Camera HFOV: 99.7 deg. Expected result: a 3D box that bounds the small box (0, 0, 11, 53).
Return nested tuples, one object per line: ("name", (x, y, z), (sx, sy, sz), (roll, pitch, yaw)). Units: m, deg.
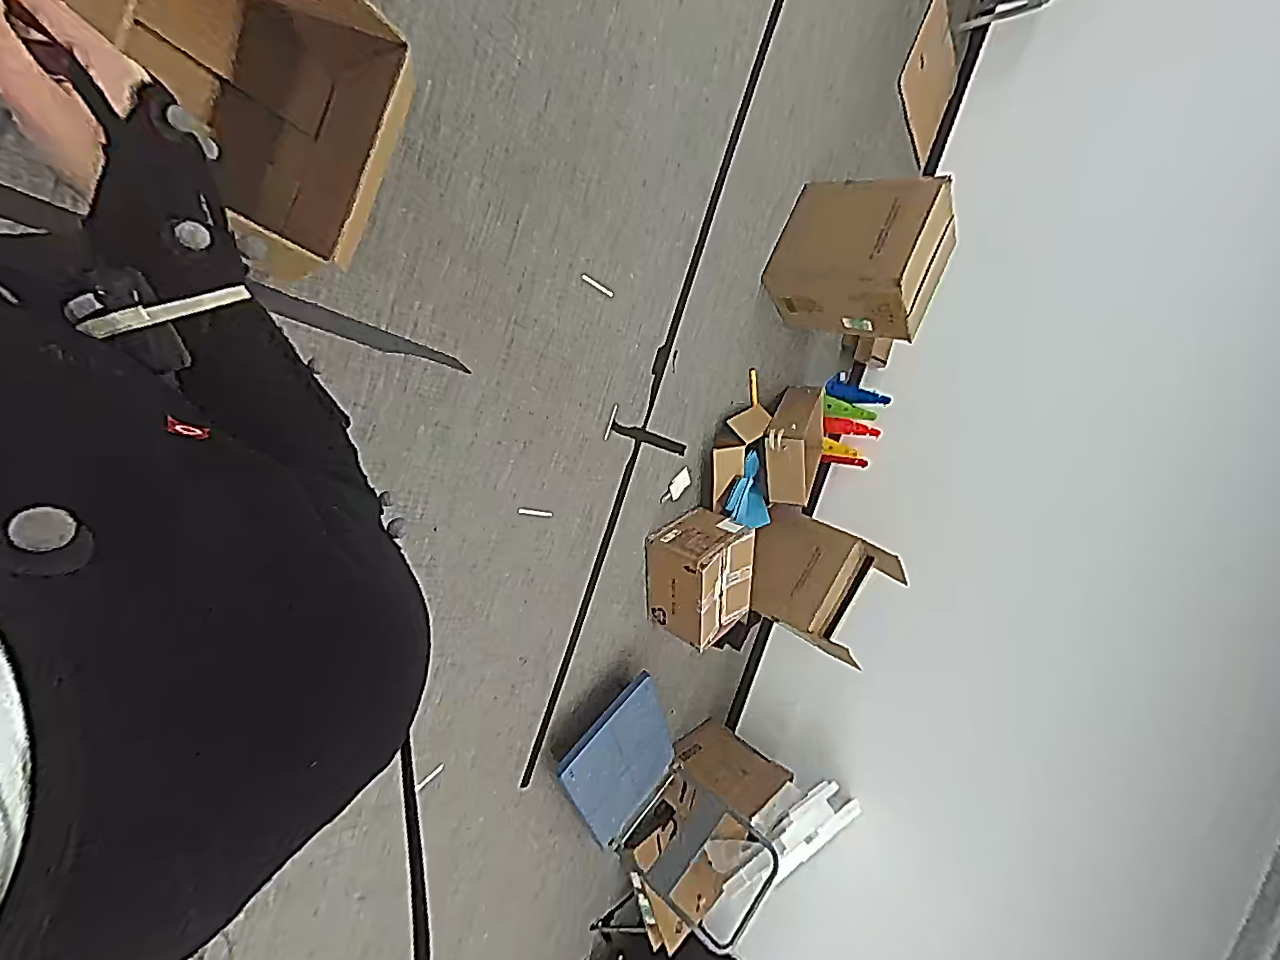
("small box", (-0.421, -0.303, 0.221), (0.179, 0.176, 0.168), (-22, 127, -44))
